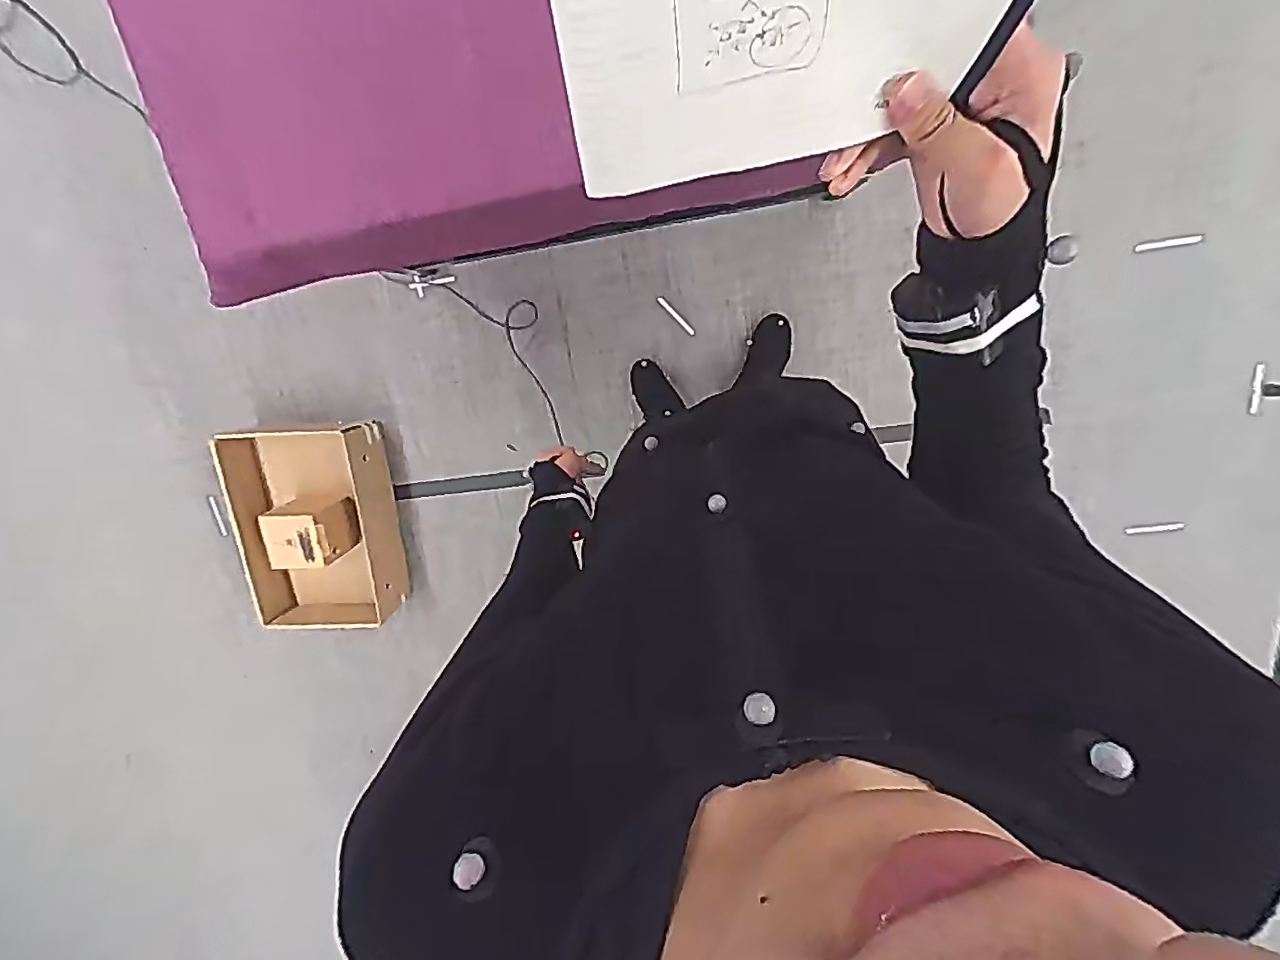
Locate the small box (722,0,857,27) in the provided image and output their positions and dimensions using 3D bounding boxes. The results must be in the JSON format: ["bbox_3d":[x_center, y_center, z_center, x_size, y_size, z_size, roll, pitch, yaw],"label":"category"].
[{"bbox_3d":[0.180,-0.646,0.604,0.168,0.176,0.179,-2,106,4],"label":"small box"}]
